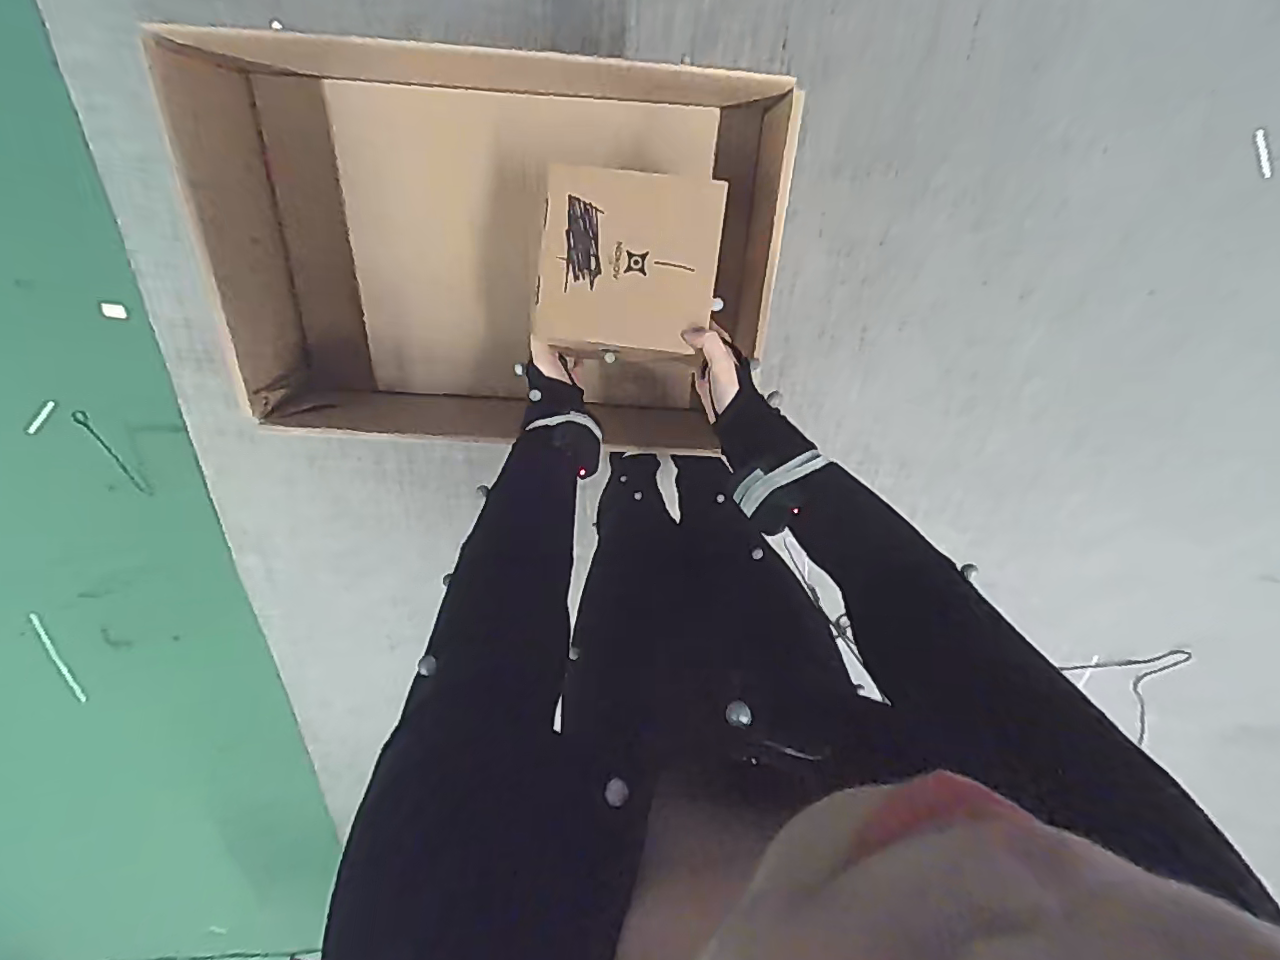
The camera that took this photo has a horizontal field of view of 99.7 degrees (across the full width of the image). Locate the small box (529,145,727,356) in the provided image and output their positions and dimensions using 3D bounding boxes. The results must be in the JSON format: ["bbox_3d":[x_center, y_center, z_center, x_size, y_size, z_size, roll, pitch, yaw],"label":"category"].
[{"bbox_3d":[-0.005,-0.236,0.595,0.179,0.176,0.168,7,96,5],"label":"small box"}]
